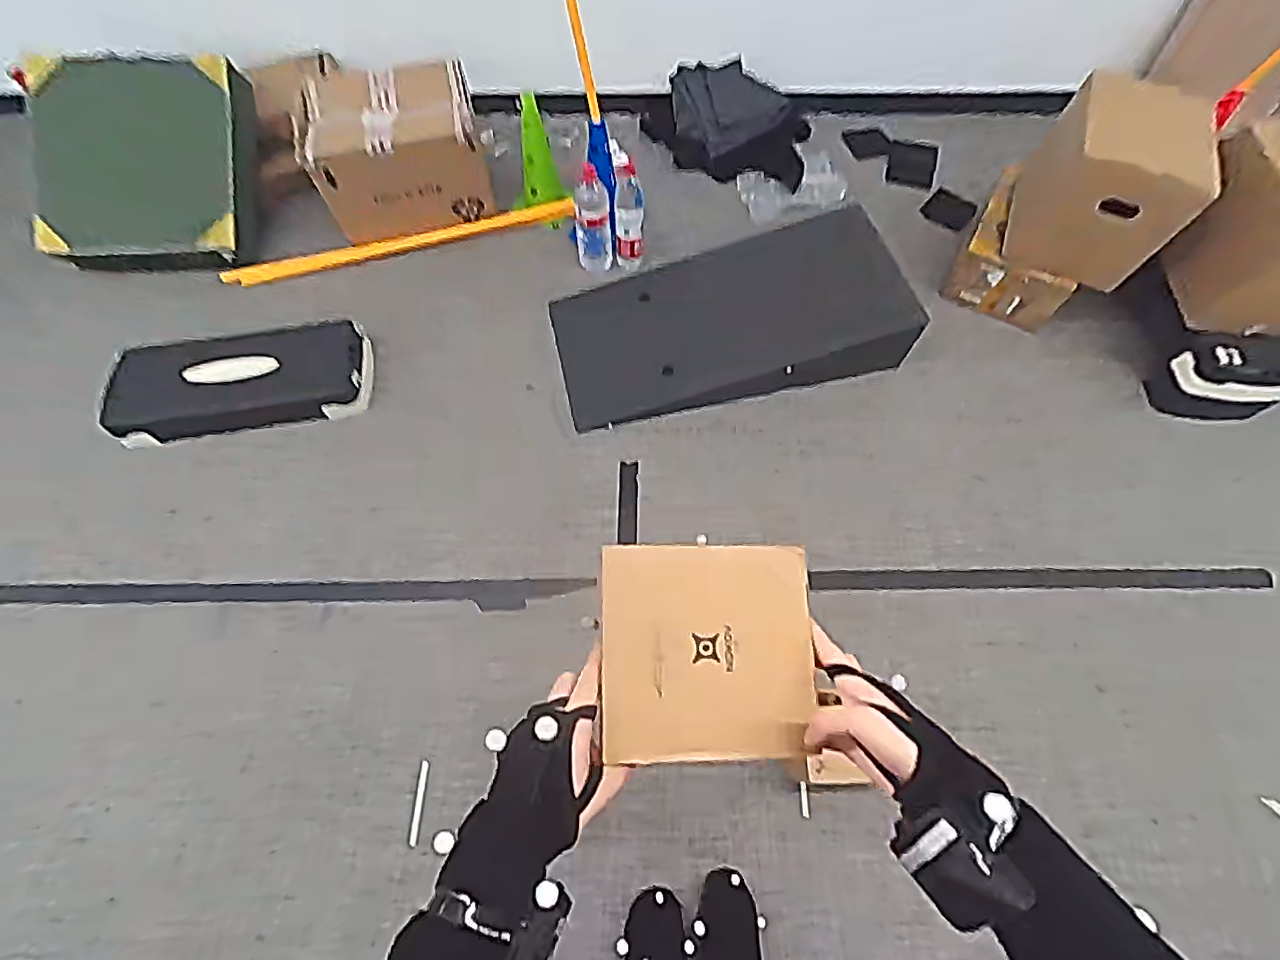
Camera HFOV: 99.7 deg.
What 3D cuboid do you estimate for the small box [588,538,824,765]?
[{"bbox_3d":[0.045,0.147,0.491,0.179,0.176,0.168,2,75,-6],"label":"small box"}]

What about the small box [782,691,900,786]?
[{"bbox_3d":[0.392,0.523,1.099,0.179,0.176,0.168,0,64,-1],"label":"small box"}]
